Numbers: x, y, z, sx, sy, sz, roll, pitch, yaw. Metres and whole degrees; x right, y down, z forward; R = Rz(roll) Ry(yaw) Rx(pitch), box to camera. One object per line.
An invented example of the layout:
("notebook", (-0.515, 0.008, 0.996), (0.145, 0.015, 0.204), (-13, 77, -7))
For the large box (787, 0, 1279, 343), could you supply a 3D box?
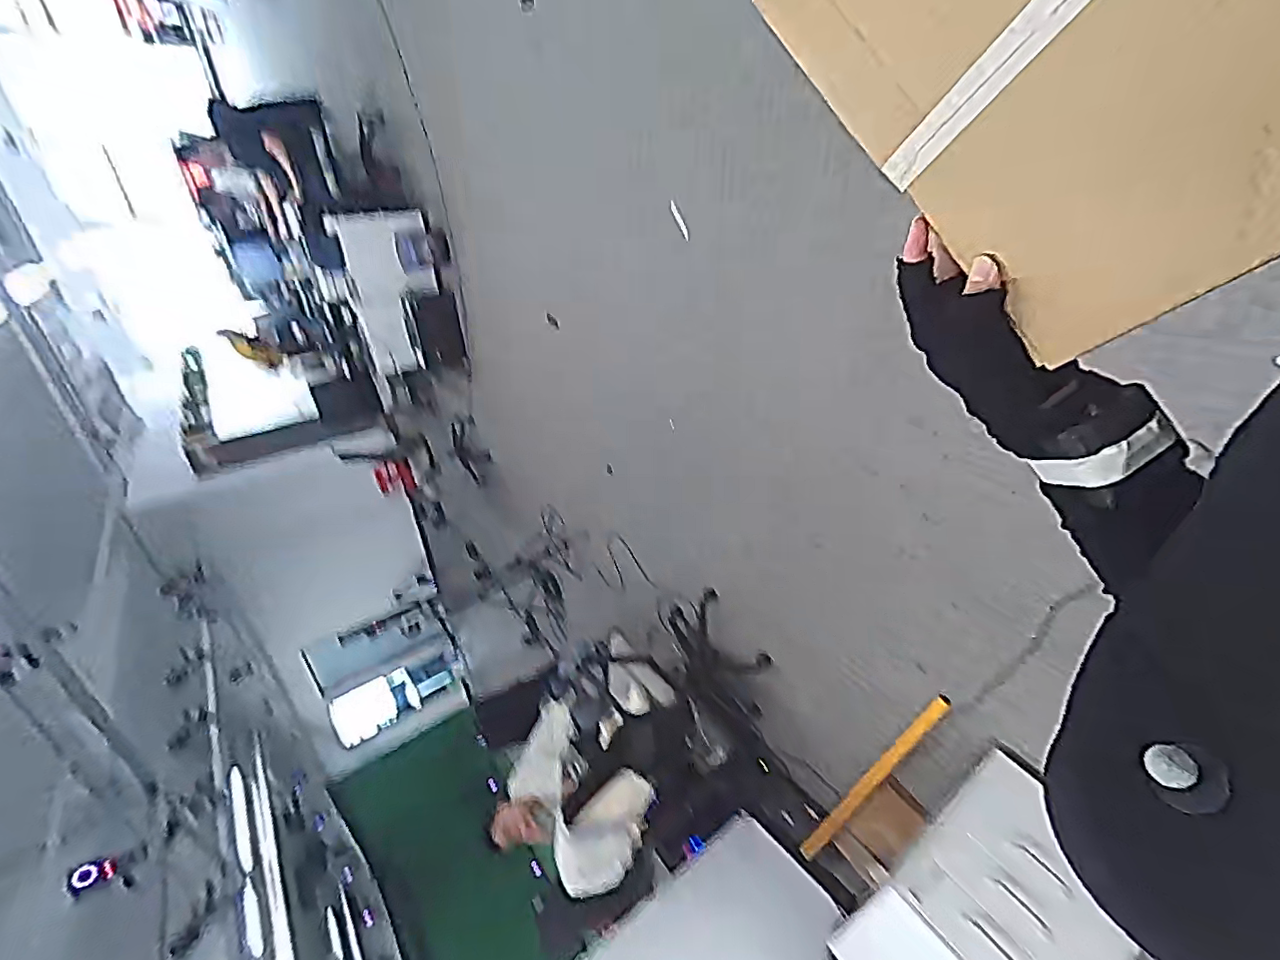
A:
("large box", (0.361, -0.342, 0.261), (0.320, 0.320, 0.408), (55, 149, 3))
